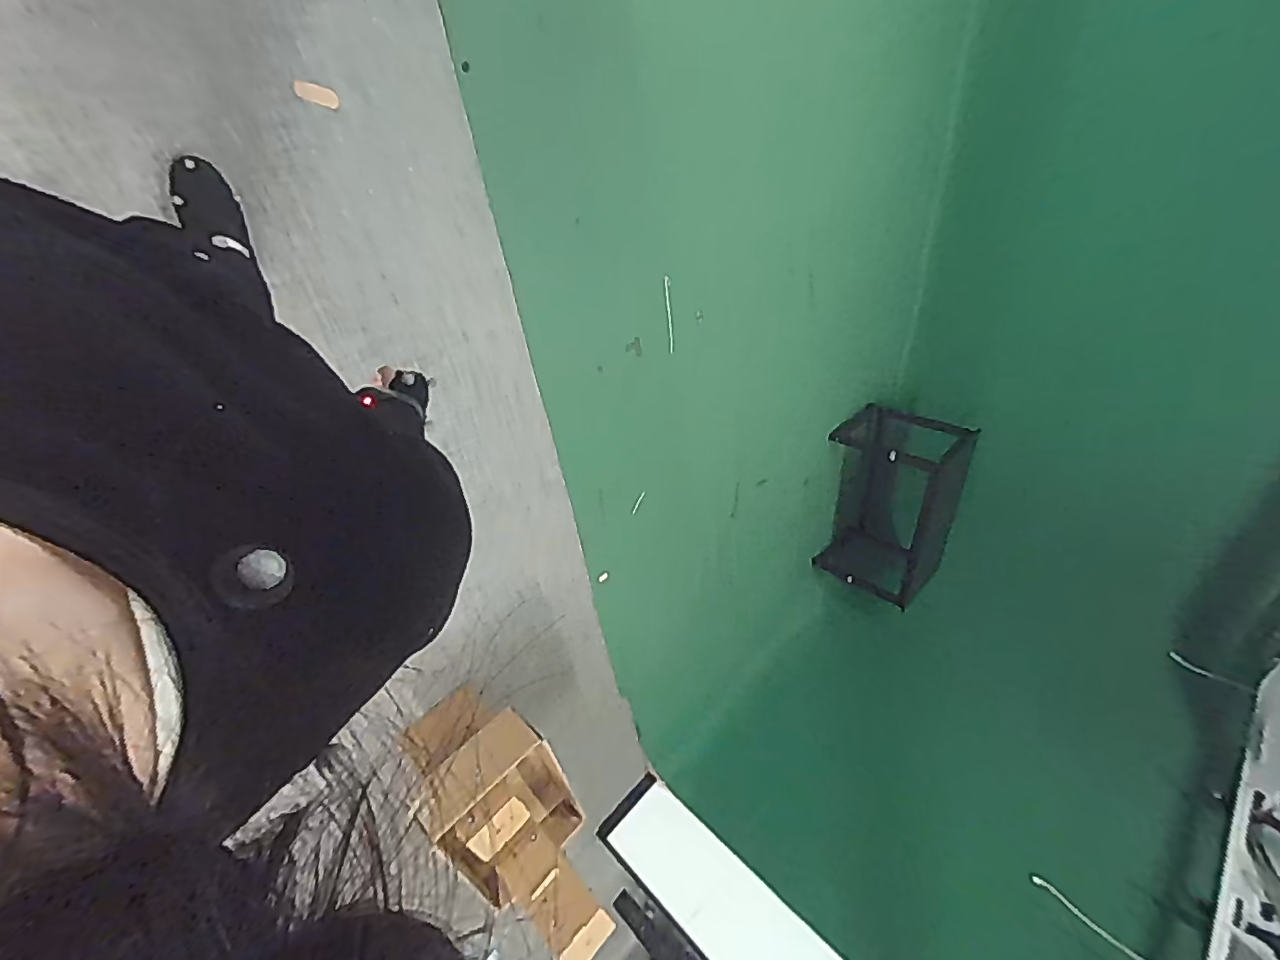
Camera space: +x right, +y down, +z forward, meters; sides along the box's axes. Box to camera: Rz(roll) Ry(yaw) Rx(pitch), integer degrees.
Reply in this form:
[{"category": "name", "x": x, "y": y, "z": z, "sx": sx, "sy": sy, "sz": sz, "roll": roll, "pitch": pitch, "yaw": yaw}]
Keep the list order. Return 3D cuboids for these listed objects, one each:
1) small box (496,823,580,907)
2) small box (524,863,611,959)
[{"category": "small box", "x": -0.324, "y": 1.232, "z": 1.710, "sx": 0.168, "sy": 0.176, "sz": 0.179, "roll": -40, "pitch": 134, "yaw": -26}, {"category": "small box", "x": -0.217, "y": 1.286, "z": 1.599, "sx": 0.168, "sy": 0.176, "sz": 0.179, "roll": -37, "pitch": 132, "yaw": -28}]
